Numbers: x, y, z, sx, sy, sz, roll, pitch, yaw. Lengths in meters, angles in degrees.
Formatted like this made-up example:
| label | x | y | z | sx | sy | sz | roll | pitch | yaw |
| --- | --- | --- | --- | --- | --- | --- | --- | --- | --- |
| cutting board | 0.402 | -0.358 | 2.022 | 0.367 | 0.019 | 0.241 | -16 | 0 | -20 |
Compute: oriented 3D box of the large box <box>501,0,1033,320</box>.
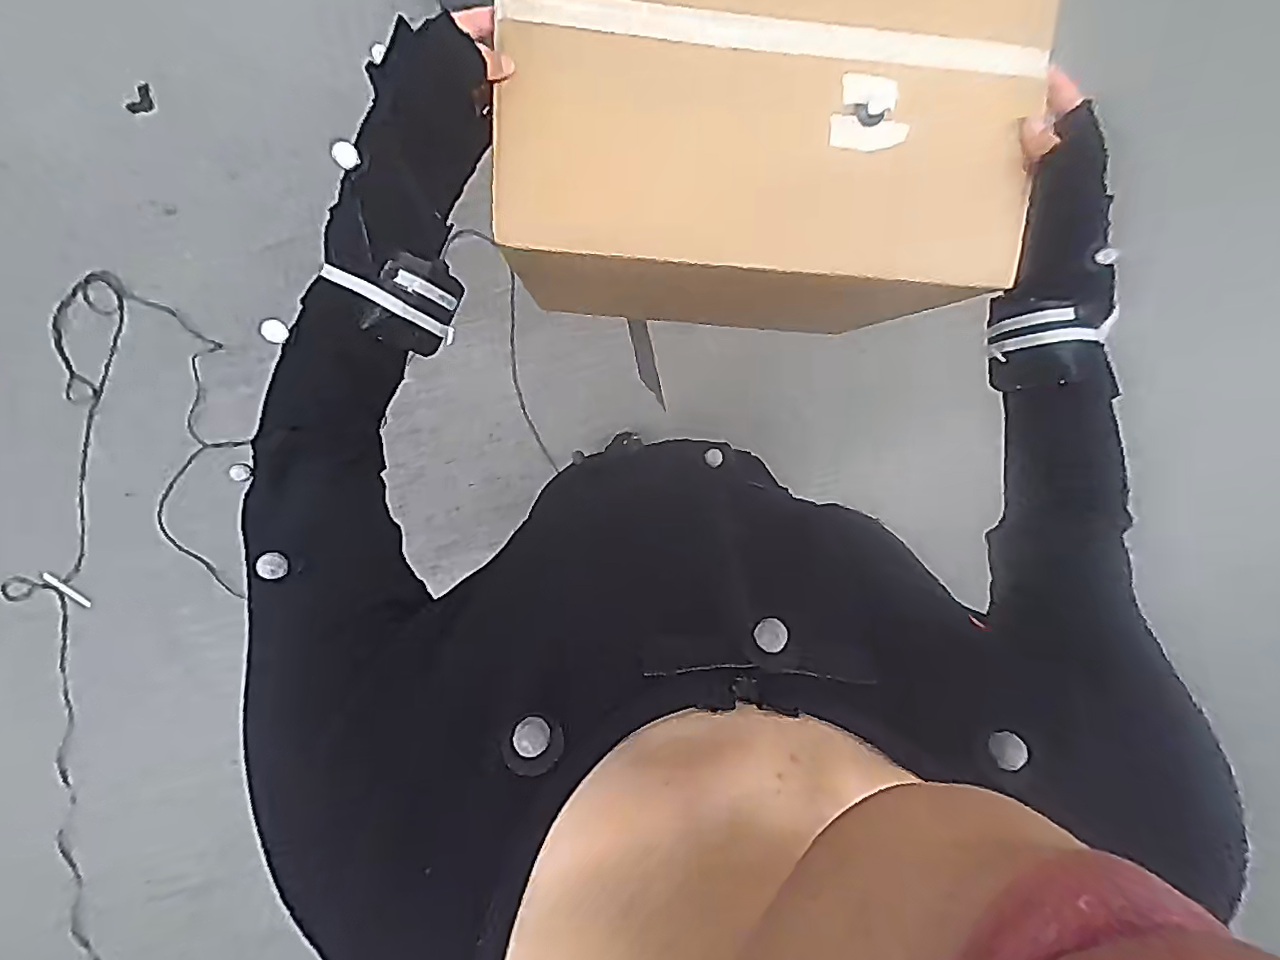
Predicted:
| label | x | y | z | sx | sy | sz | roll | pitch | yaw |
| --- | --- | --- | --- | --- | --- | --- | --- | --- | --- |
| large box | 0.083 | -0.348 | 0.546 | 0.408 | 0.320 | 0.320 | 2 | 99 | -5 |
